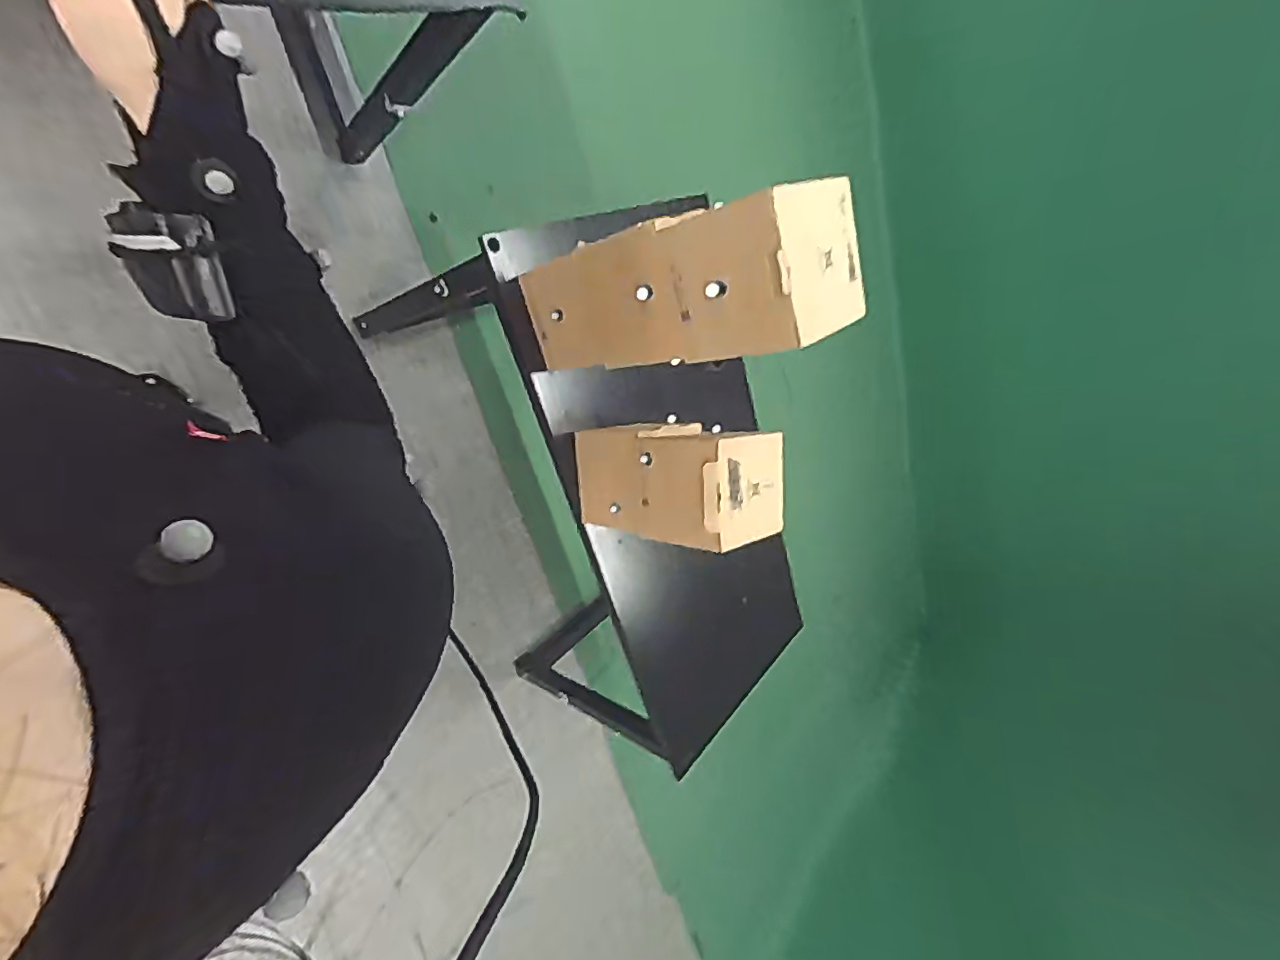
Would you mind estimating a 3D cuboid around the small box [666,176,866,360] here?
[{"bbox_3d":[0.150,-0.253,0.664,0.179,0.176,0.168,-30,113,-37],"label":"small box"}]

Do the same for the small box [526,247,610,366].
[{"bbox_3d":[-0.068,-0.296,0.904,0.179,0.176,0.168,-32,116,-38],"label":"small box"}]

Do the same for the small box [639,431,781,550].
[{"bbox_3d":[0.110,0.008,0.875,0.179,0.176,0.168,-9,101,-44],"label":"small box"}]

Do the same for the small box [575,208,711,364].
[{"bbox_3d":[0.035,-0.273,0.779,0.168,0.176,0.179,-32,115,-37],"label":"small box"}]
